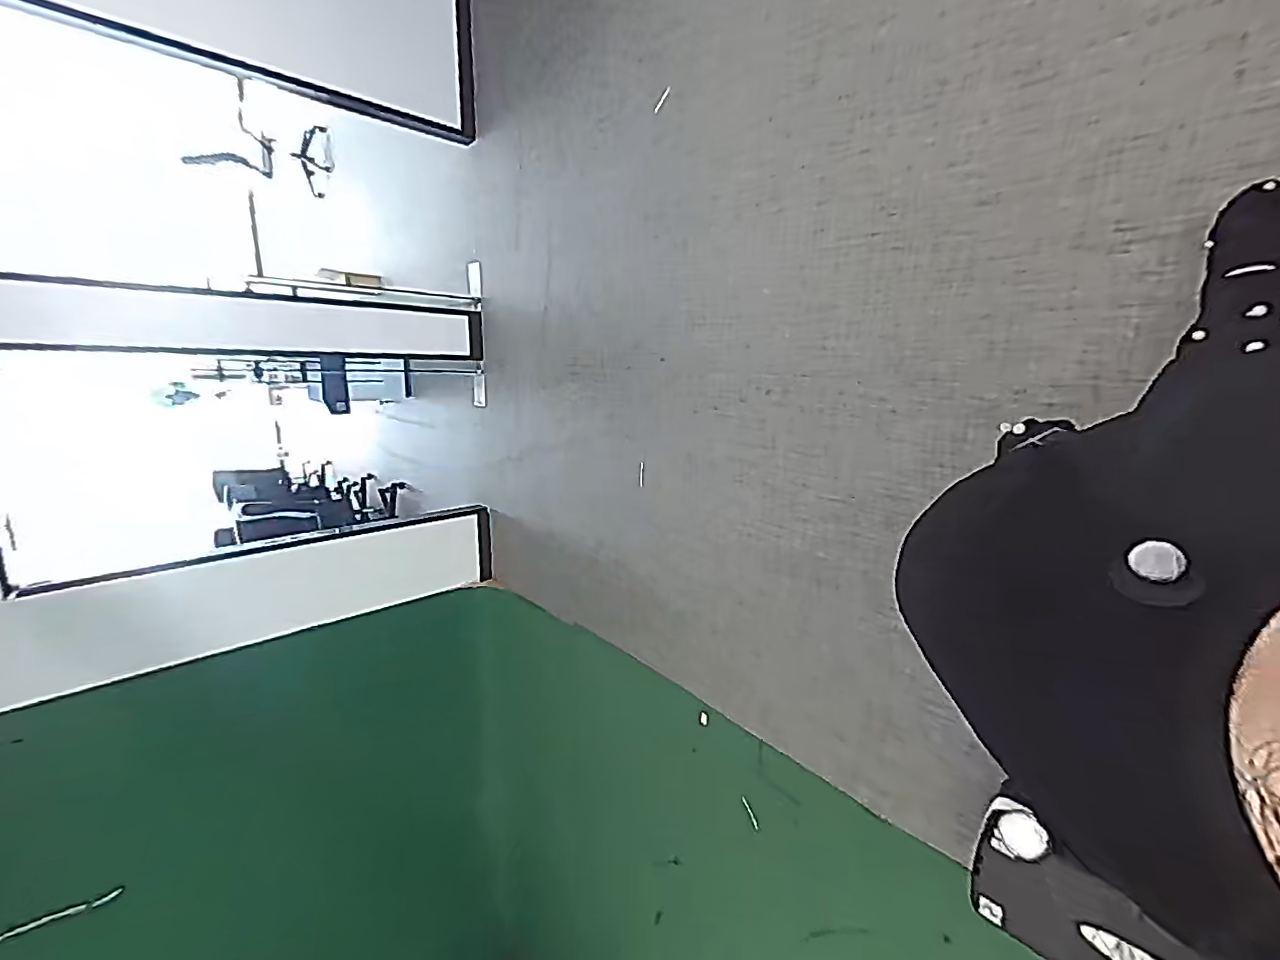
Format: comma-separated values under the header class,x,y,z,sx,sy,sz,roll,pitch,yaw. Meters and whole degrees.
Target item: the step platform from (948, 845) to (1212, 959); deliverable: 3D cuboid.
class,x,y,z,sx,sy,sz,roll,pitch,yaw
step platform,0.967,1.016,0.979,0.684,0.204,0.286,14,107,45
